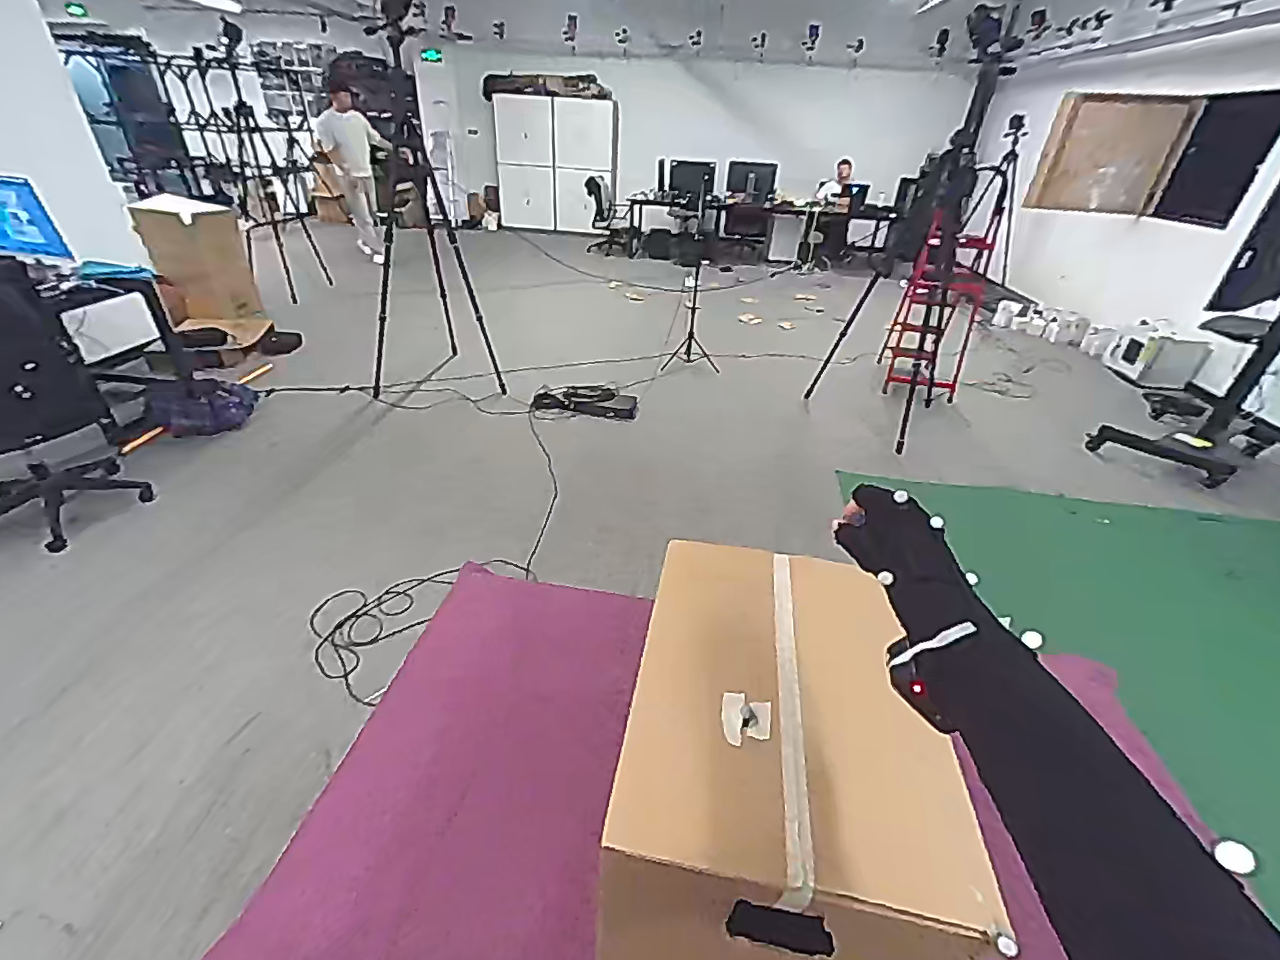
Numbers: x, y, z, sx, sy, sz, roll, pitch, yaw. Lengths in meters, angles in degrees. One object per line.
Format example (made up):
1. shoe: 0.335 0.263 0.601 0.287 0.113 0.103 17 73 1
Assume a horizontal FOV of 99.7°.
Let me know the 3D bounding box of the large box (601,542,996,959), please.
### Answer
1. large box: 0.147 0.339 0.673 0.320 0.320 0.408 8 34 7
